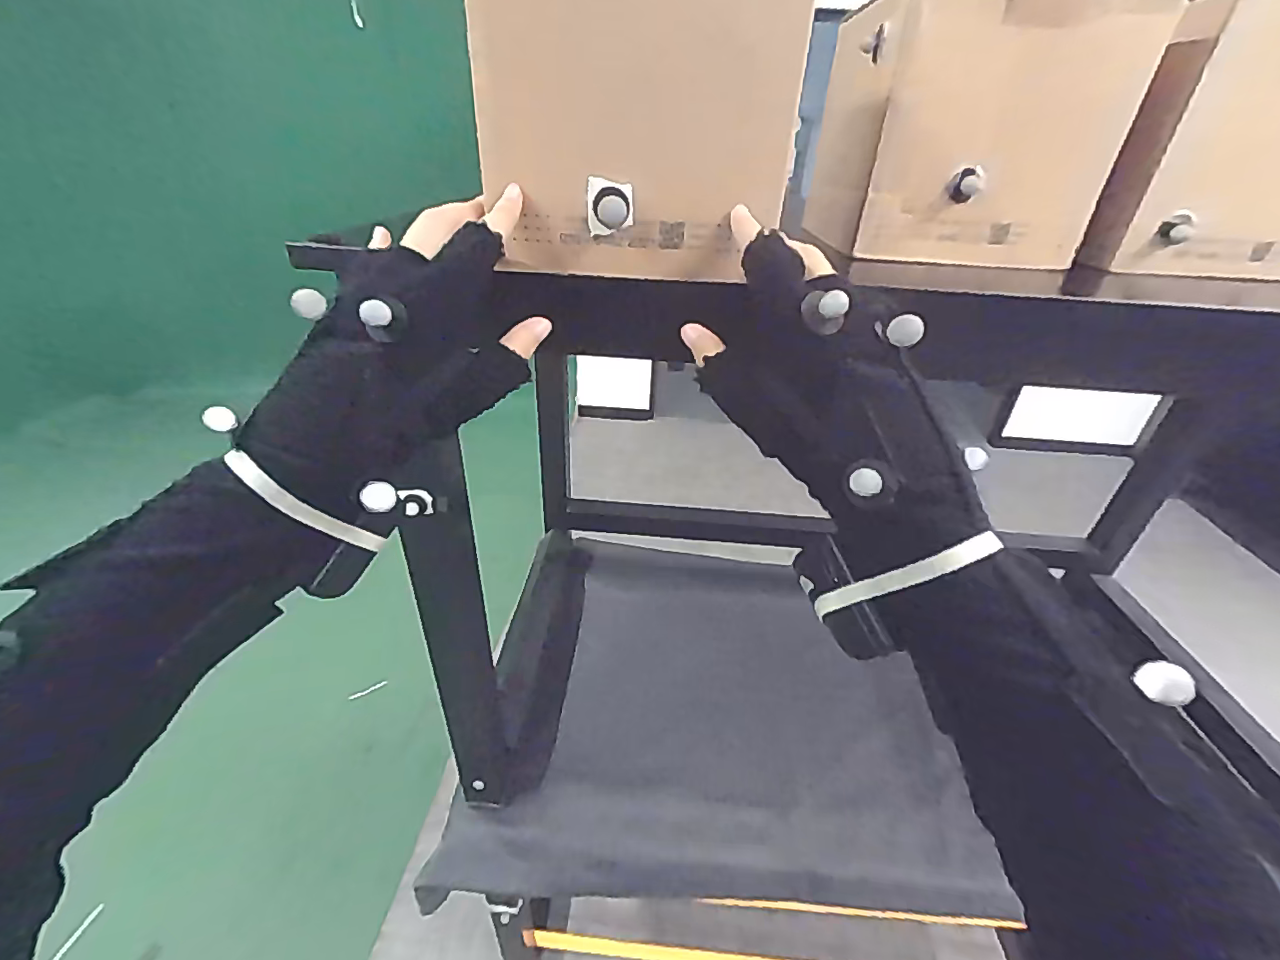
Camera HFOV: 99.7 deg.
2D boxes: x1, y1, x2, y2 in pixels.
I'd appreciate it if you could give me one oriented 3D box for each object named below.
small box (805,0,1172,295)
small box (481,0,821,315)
[{"bbox_3d":[0.248,-0.264,0.447,0.168,0.176,0.179,4,33,1],"label":"small box"},{"bbox_3d":[-0.001,-0.218,0.354,0.168,0.176,0.179,1,33,-2],"label":"small box"}]
